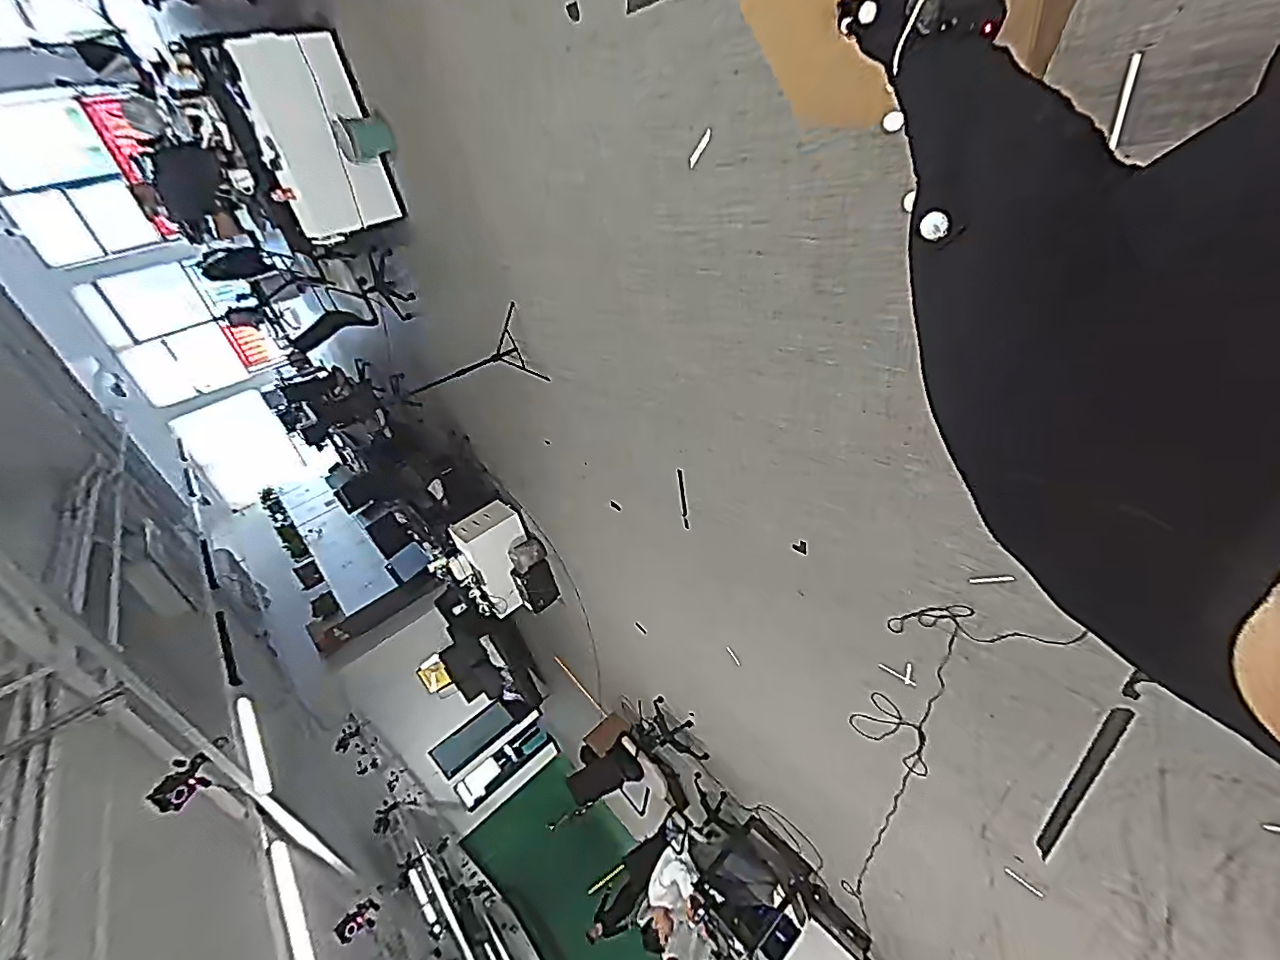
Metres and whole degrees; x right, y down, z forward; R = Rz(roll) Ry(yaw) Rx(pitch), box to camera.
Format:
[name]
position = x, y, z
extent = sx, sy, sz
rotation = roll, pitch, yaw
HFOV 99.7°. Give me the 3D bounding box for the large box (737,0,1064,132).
[large box]
position = 0.352, -0.692, 0.618
extent = 0.320, 0.320, 0.408
rotation = 24, 106, 29
